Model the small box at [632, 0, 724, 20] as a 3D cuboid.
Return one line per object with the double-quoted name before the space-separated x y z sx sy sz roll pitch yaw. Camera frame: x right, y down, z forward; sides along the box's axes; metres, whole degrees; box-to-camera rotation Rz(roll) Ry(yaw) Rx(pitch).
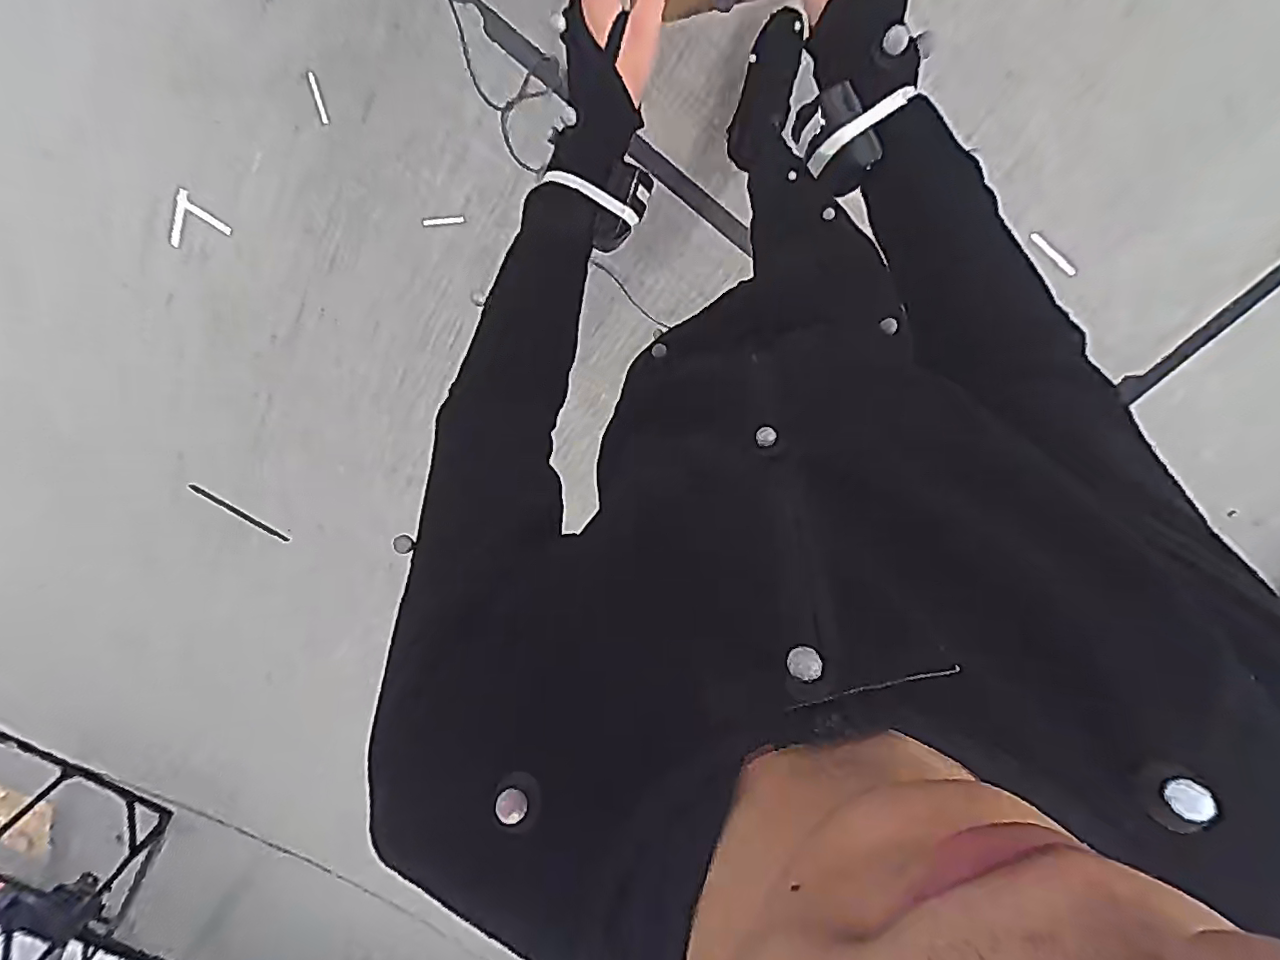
"small box" 0.053 -0.487 0.393 0.168 0.176 0.179 -10 114 7
